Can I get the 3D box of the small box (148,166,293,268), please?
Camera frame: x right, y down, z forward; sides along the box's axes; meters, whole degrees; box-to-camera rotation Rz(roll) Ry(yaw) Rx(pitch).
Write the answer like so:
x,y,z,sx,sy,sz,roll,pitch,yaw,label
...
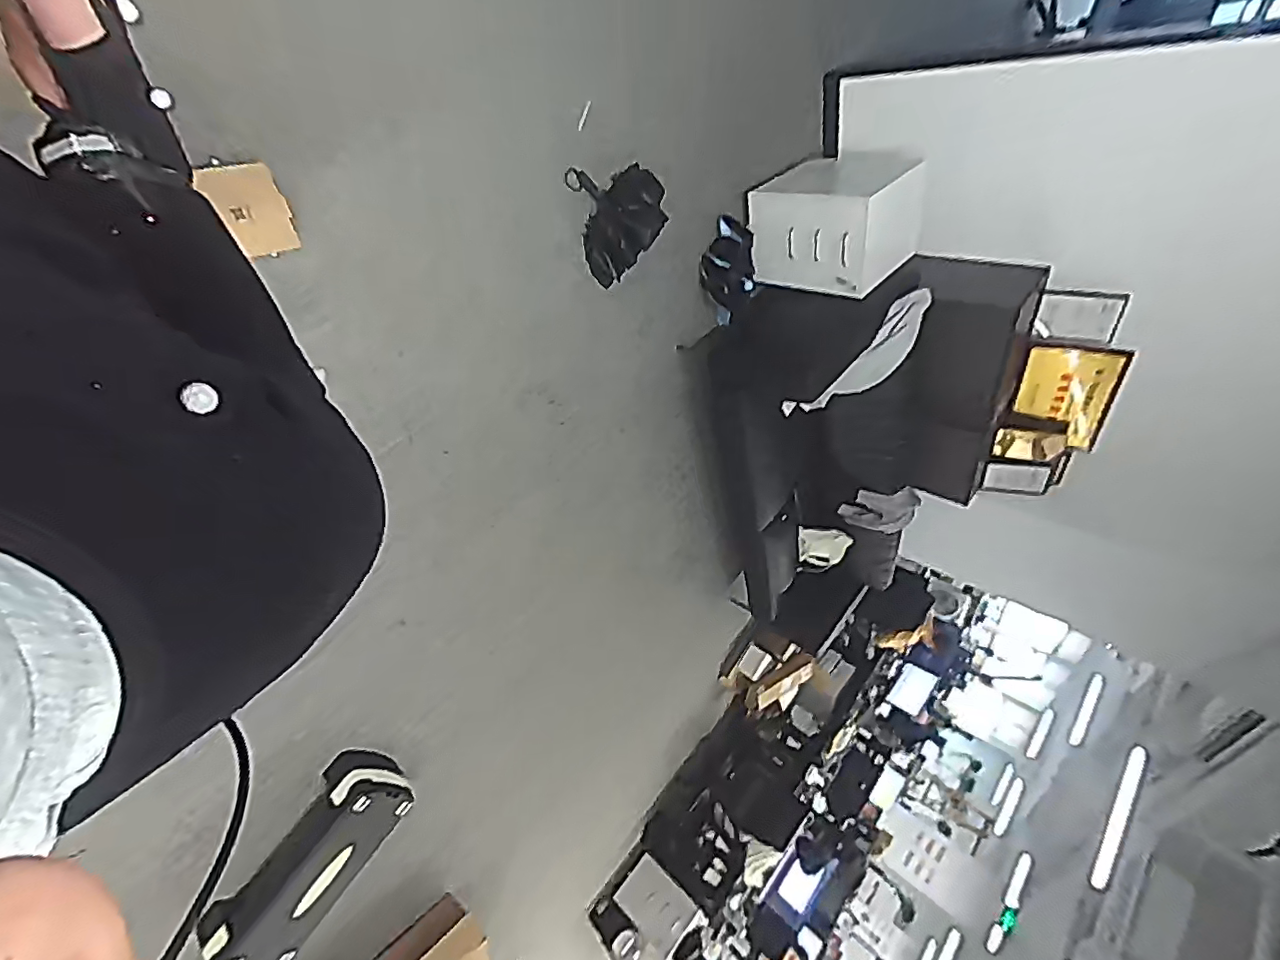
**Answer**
x,y,z,sx,sy,sz,roll,pitch,yaw,label
-0.884,-0.562,1.143,0.179,0.176,0.168,-34,133,-33,small box
